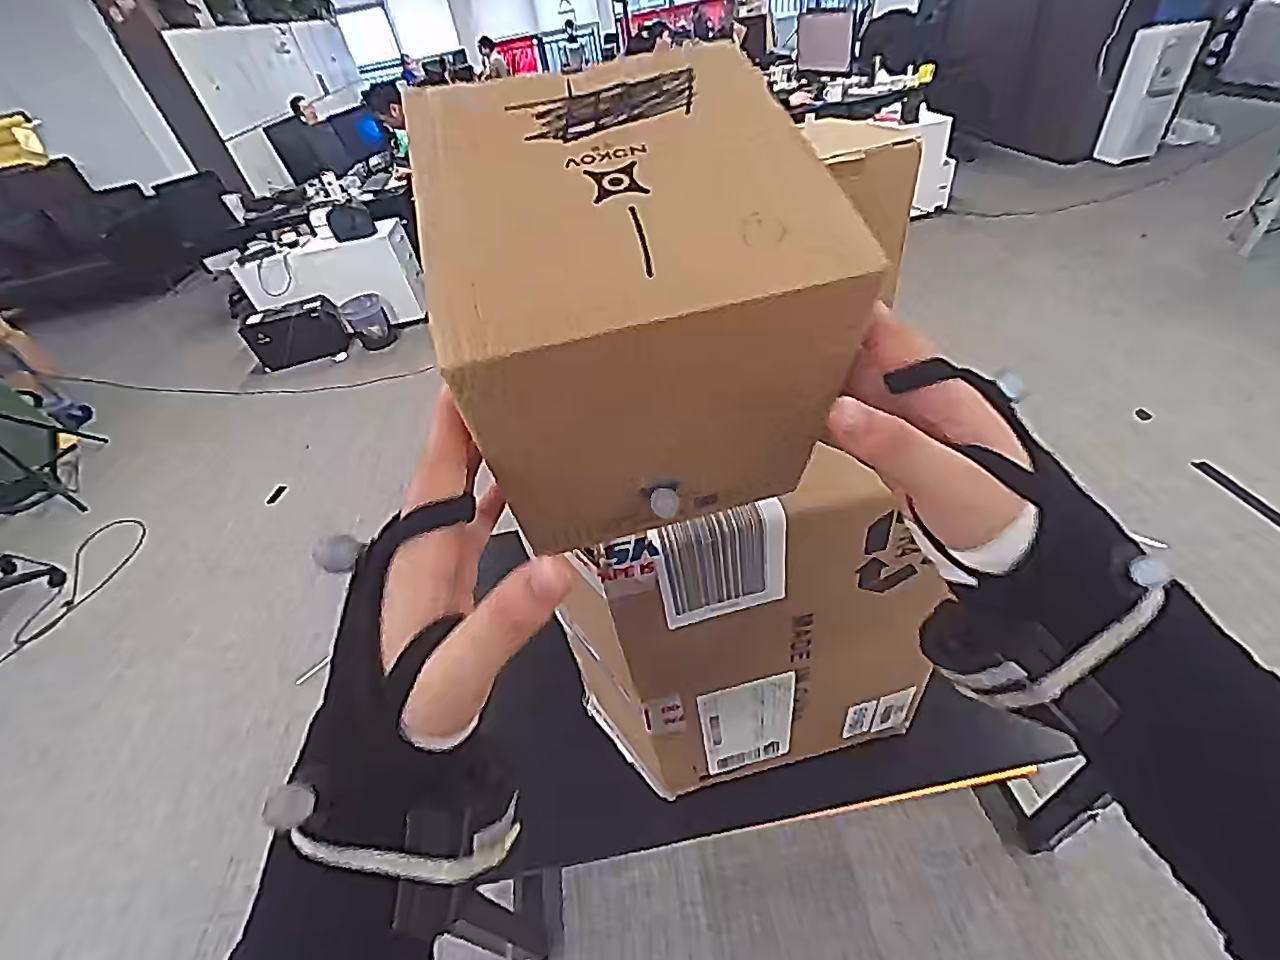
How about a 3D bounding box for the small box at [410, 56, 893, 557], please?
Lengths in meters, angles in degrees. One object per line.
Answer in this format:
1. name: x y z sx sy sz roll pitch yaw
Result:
1. small box: -0.007 -0.083 0.292 0.168 0.176 0.179 -15 61 -5
